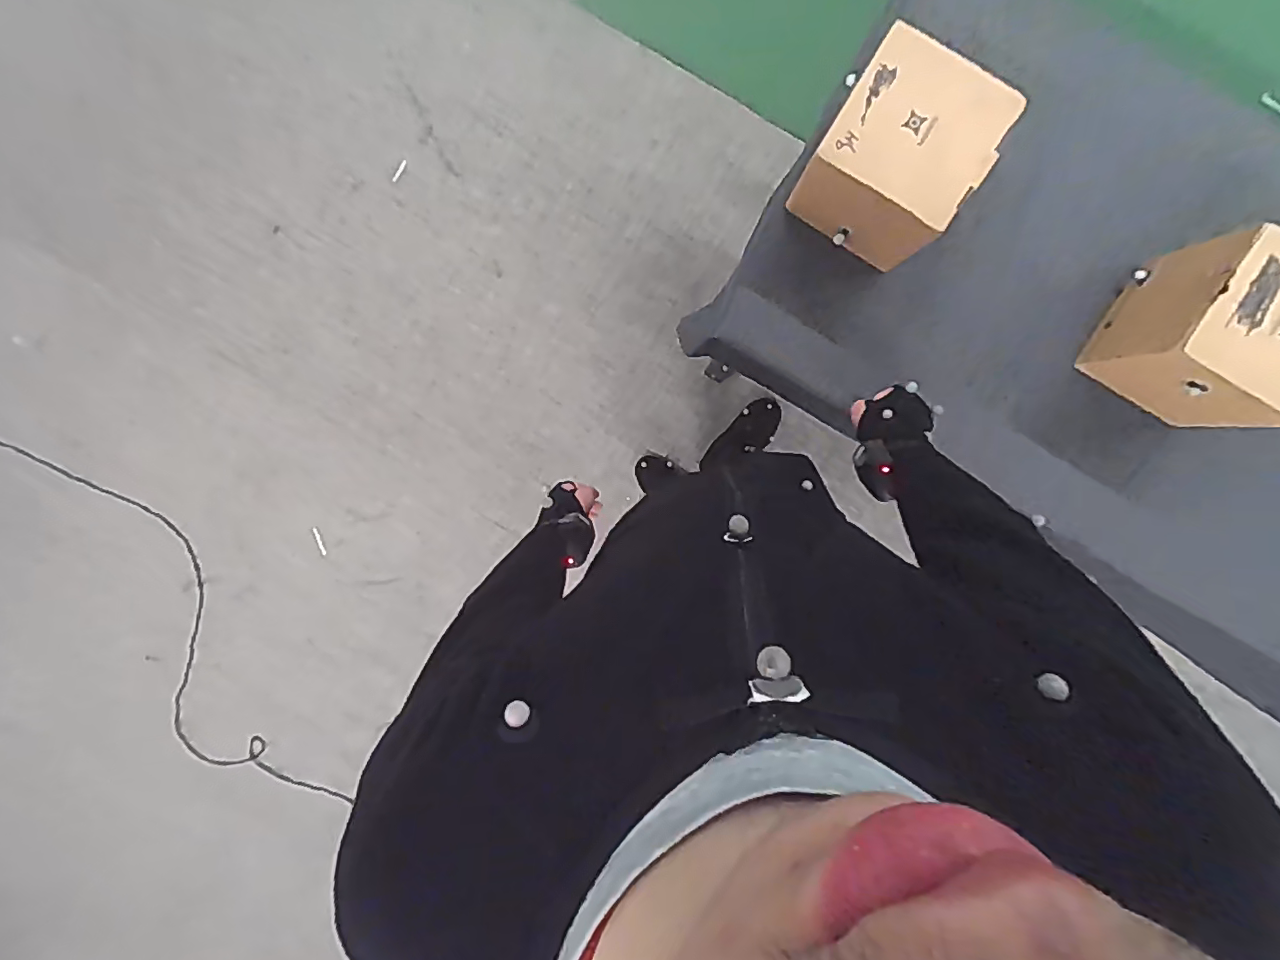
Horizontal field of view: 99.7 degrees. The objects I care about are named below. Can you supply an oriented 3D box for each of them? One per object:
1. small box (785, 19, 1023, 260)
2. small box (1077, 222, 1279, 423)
[{"bbox_3d":[0.312,-0.403,0.682,0.179,0.176,0.168,32,97,-2],"label":"small box"},{"bbox_3d":[0.724,-0.182,0.684,0.179,0.176,0.168,31,98,-2],"label":"small box"}]
